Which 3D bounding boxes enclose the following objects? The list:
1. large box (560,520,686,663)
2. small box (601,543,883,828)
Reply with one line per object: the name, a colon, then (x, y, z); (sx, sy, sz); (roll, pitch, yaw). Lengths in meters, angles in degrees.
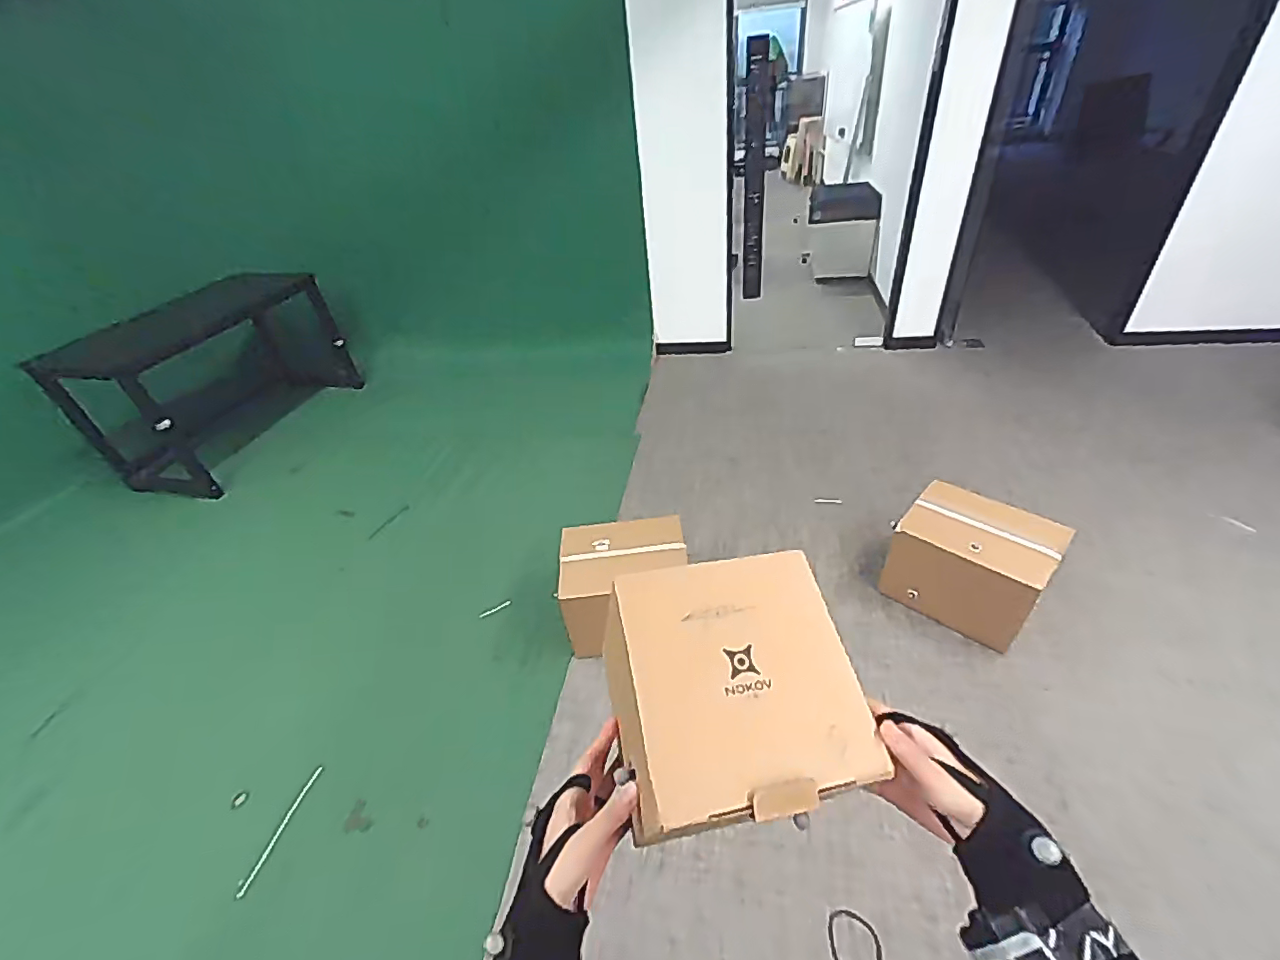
large box: (-0.033, 0.371, 1.798); (0.408, 0.320, 0.320); (-8, 36, 1)
small box: (0.061, 0.176, 0.455); (0.168, 0.176, 0.179); (-5, 54, -12)
